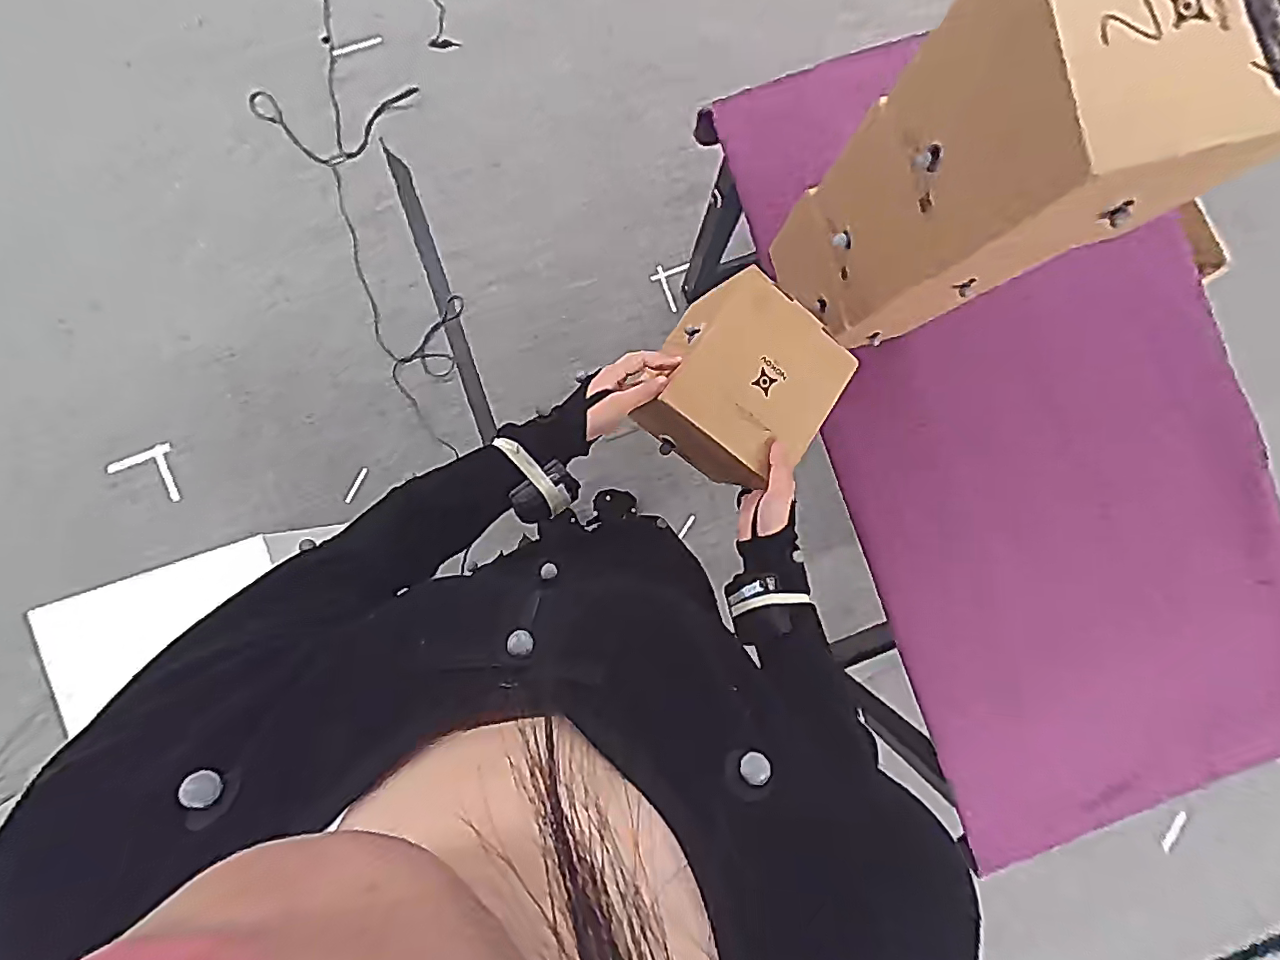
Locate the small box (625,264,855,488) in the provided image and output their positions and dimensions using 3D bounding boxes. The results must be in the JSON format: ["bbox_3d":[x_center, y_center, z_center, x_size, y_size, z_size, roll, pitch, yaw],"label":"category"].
[{"bbox_3d":[0.104,-0.111,0.636,0.168,0.176,0.179,35,83,-15],"label":"small box"}]

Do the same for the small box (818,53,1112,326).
[{"bbox_3d":[0.312,-0.276,0.553,0.179,0.176,0.168,-16,90,-2],"label":"small box"}]

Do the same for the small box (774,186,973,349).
[{"bbox_3d":[0.295,-0.275,0.717,0.168,0.176,0.179,-15,90,-3],"label":"small box"}]
